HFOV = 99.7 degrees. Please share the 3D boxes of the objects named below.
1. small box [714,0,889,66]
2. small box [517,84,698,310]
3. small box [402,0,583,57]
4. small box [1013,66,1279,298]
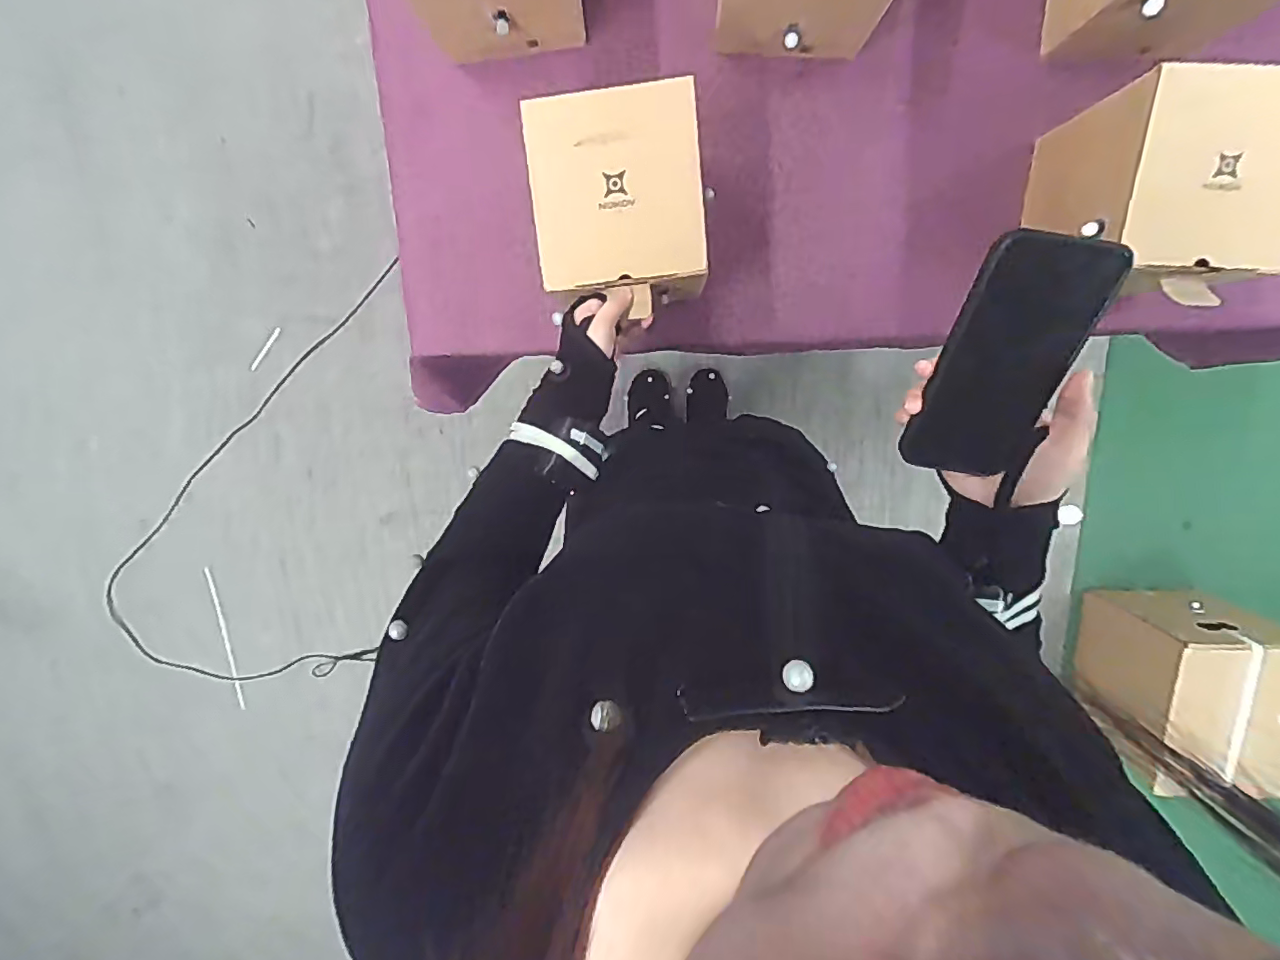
[{"bbox_3d":[0.169,-0.560,0.538,0.168,0.176,0.179,5,103,2],"label":"small box"},{"bbox_3d":[-0.025,-0.290,0.599,0.168,0.176,0.179,-5,99,4],"label":"small box"},{"bbox_3d":[-0.158,-0.569,0.550,0.168,0.176,0.179,-6,103,3],"label":"small box"},{"bbox_3d":[0.543,-0.300,0.580,0.168,0.176,0.179,3,103,2],"label":"small box"}]
